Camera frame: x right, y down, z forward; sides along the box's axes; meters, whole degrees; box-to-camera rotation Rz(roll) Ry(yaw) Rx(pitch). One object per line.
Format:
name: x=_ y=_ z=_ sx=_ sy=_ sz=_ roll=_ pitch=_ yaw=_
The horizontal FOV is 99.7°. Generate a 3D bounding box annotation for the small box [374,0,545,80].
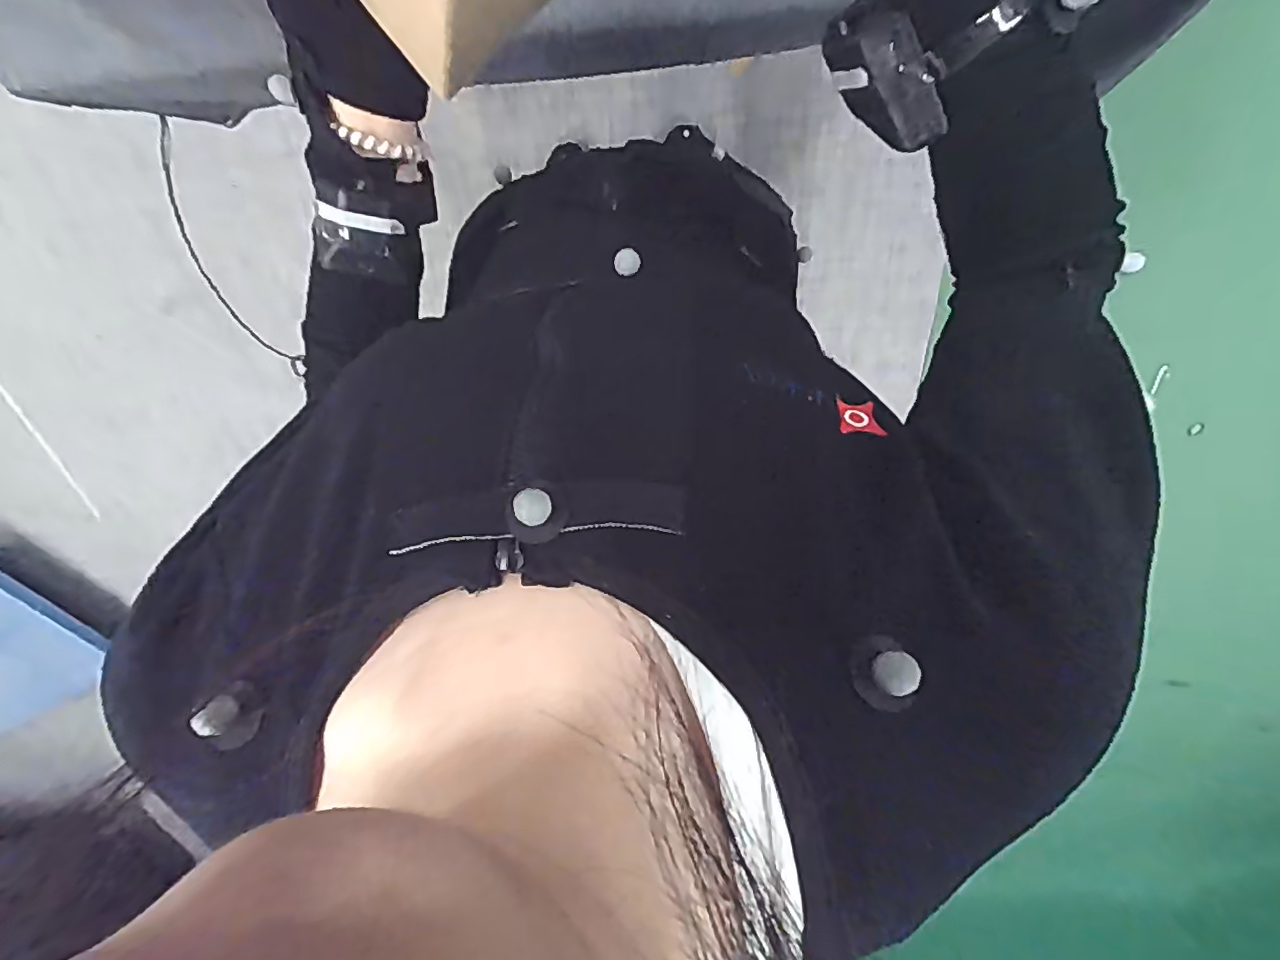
small box: x=-0.074 y=-0.304 z=0.204 sx=0.179 sy=0.176 sz=0.168 roll=-44 pitch=119 yaw=0
